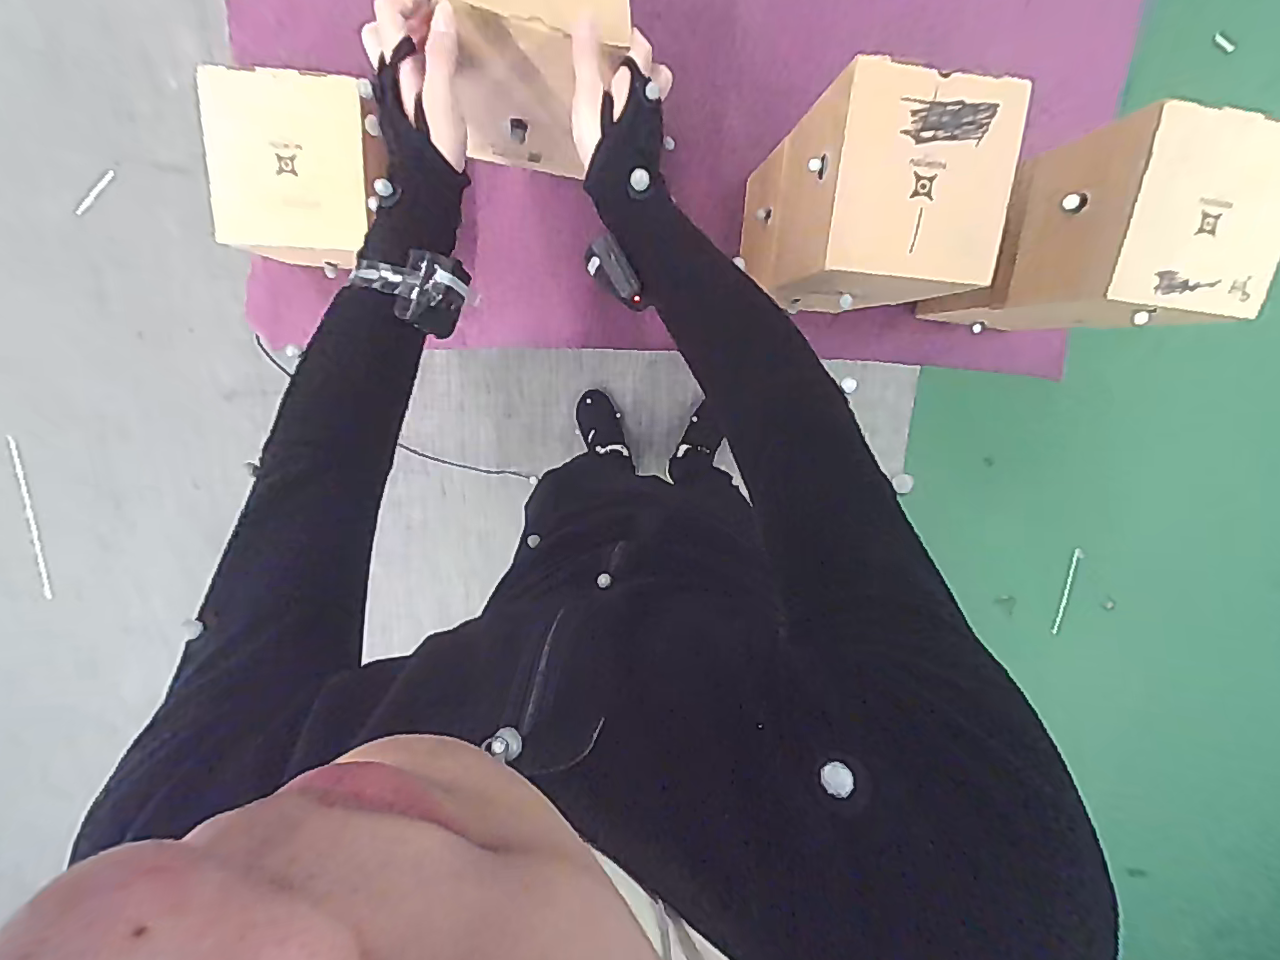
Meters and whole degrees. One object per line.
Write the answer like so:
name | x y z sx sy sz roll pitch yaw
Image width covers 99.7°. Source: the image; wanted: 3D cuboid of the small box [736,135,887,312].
small box | 0.233 -0.325 0.724 0.168 0.176 0.179 4 102 -5

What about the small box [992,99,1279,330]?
small box | 0.527 -0.267 0.589 0.168 0.176 0.179 6 102 -5

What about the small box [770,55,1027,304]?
small box | 0.247 -0.290 0.564 0.168 0.176 0.179 4 103 -5

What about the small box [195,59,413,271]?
small box | -0.390 -0.365 0.660 0.168 0.176 0.179 2 103 -5

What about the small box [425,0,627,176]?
small box | -0.117 -0.440 0.522 0.168 0.176 0.179 0 82 -20
